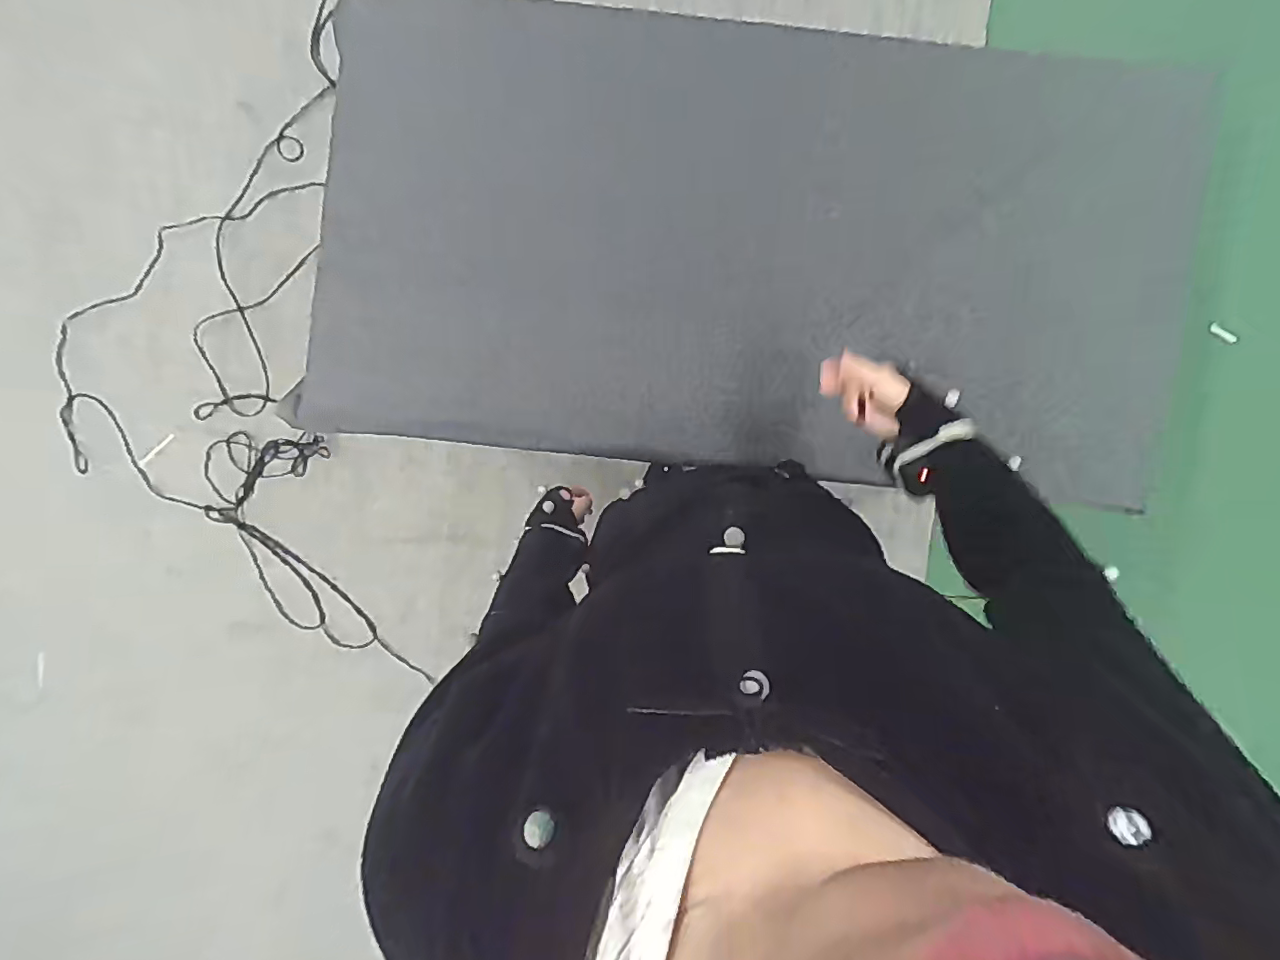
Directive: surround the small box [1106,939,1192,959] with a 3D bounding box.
[{"bbox_3d":[1.225,1.210,1.244,0.179,0.176,0.168,5,91,1],"label":"small box"}]
